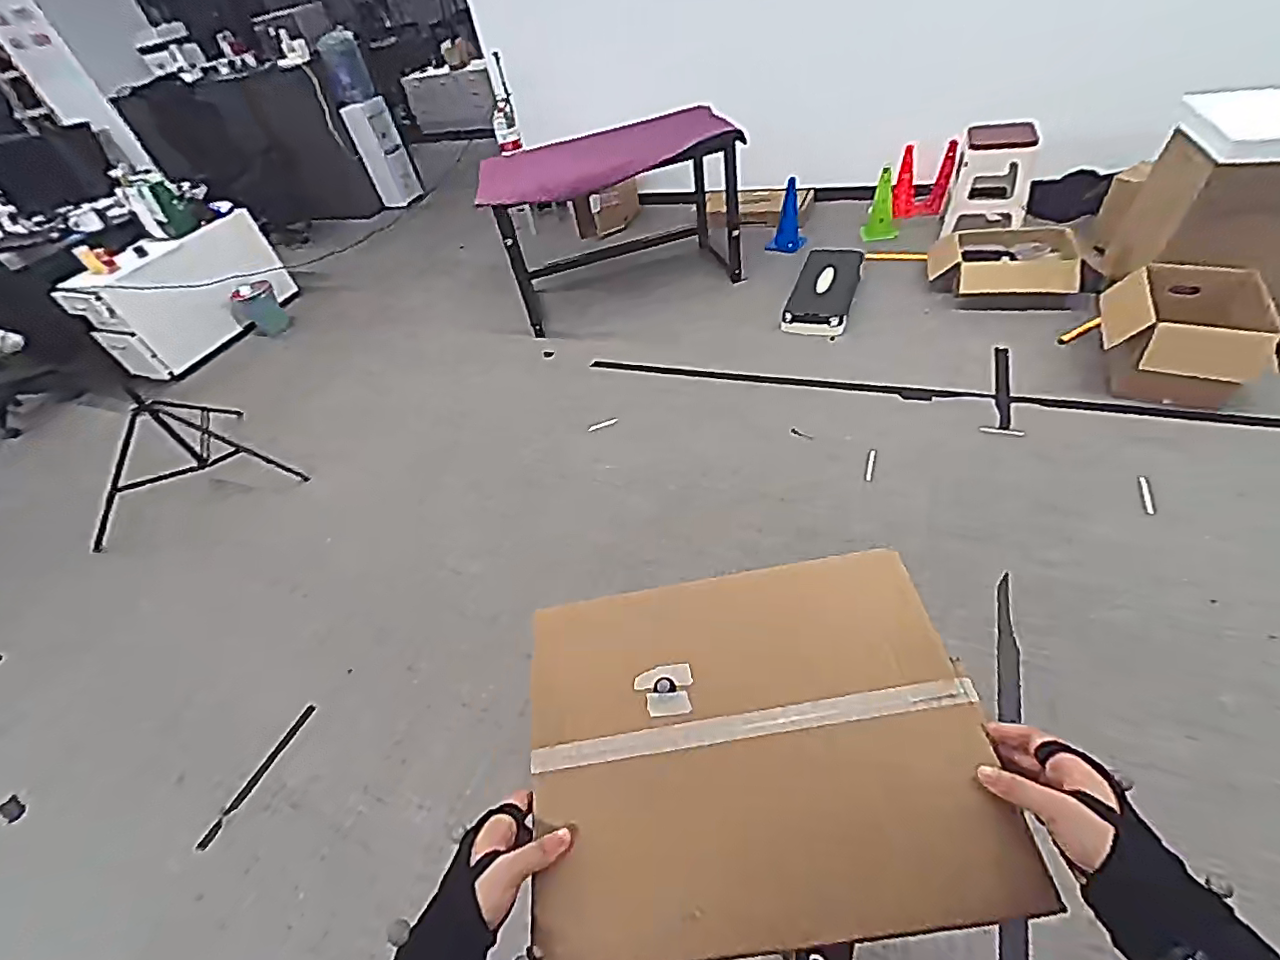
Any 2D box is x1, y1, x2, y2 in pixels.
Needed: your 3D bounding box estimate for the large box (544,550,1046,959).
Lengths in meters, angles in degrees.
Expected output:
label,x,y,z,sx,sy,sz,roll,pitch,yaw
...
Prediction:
label,x,y,z,sx,sy,sz,roll,pitch,yaw
large box,0.130,0.323,0.630,0.408,0.320,0.320,-12,50,5
